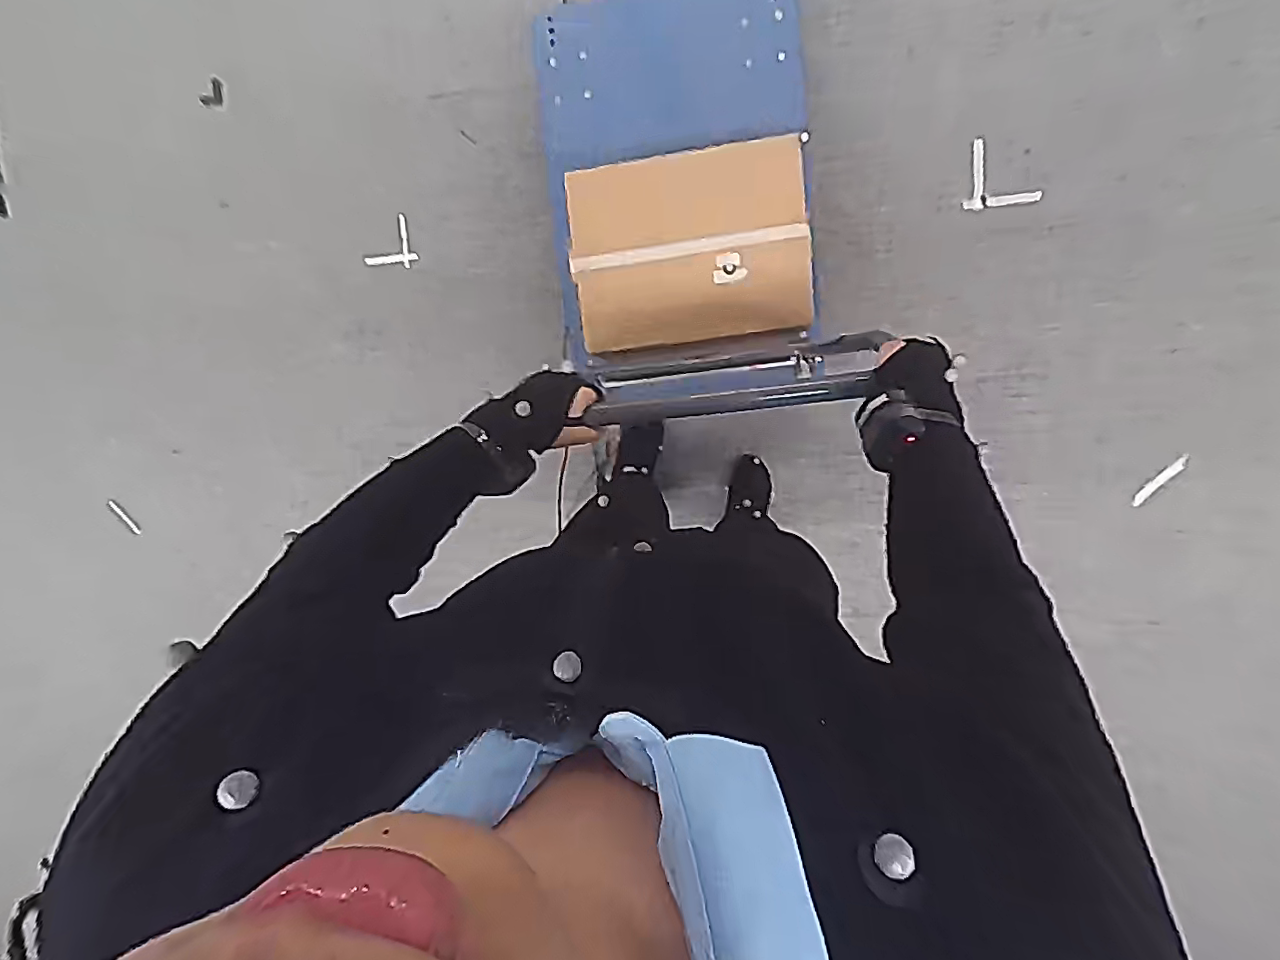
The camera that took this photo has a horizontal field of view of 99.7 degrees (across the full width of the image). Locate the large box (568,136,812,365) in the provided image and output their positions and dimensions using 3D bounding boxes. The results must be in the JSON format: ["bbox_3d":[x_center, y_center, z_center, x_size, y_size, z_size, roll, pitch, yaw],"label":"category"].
[{"bbox_3d":[0.098,-0.423,1.090,0.408,0.320,0.320,-6,98,6],"label":"large box"}]
